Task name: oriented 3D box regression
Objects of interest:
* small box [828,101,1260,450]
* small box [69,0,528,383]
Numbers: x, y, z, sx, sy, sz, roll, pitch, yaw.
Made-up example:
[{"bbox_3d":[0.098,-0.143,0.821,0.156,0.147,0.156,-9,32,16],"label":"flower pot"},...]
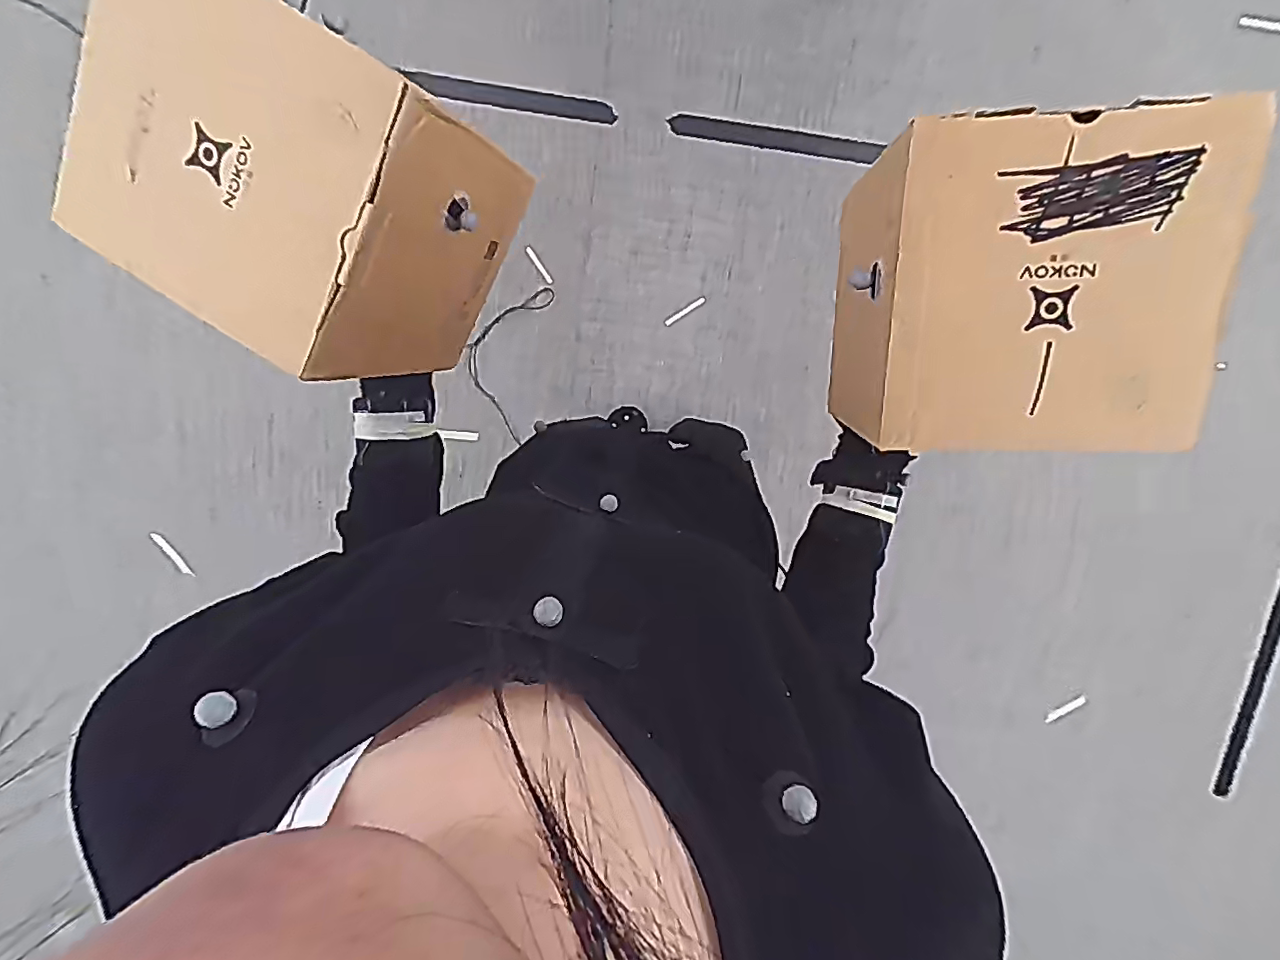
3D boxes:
[{"bbox_3d":[0.233,-0.123,0.370,0.168,0.176,0.179,1,105,8],"label":"small box"},{"bbox_3d":[-0.203,-0.184,0.363,0.179,0.176,0.168,31,106,3],"label":"small box"}]
